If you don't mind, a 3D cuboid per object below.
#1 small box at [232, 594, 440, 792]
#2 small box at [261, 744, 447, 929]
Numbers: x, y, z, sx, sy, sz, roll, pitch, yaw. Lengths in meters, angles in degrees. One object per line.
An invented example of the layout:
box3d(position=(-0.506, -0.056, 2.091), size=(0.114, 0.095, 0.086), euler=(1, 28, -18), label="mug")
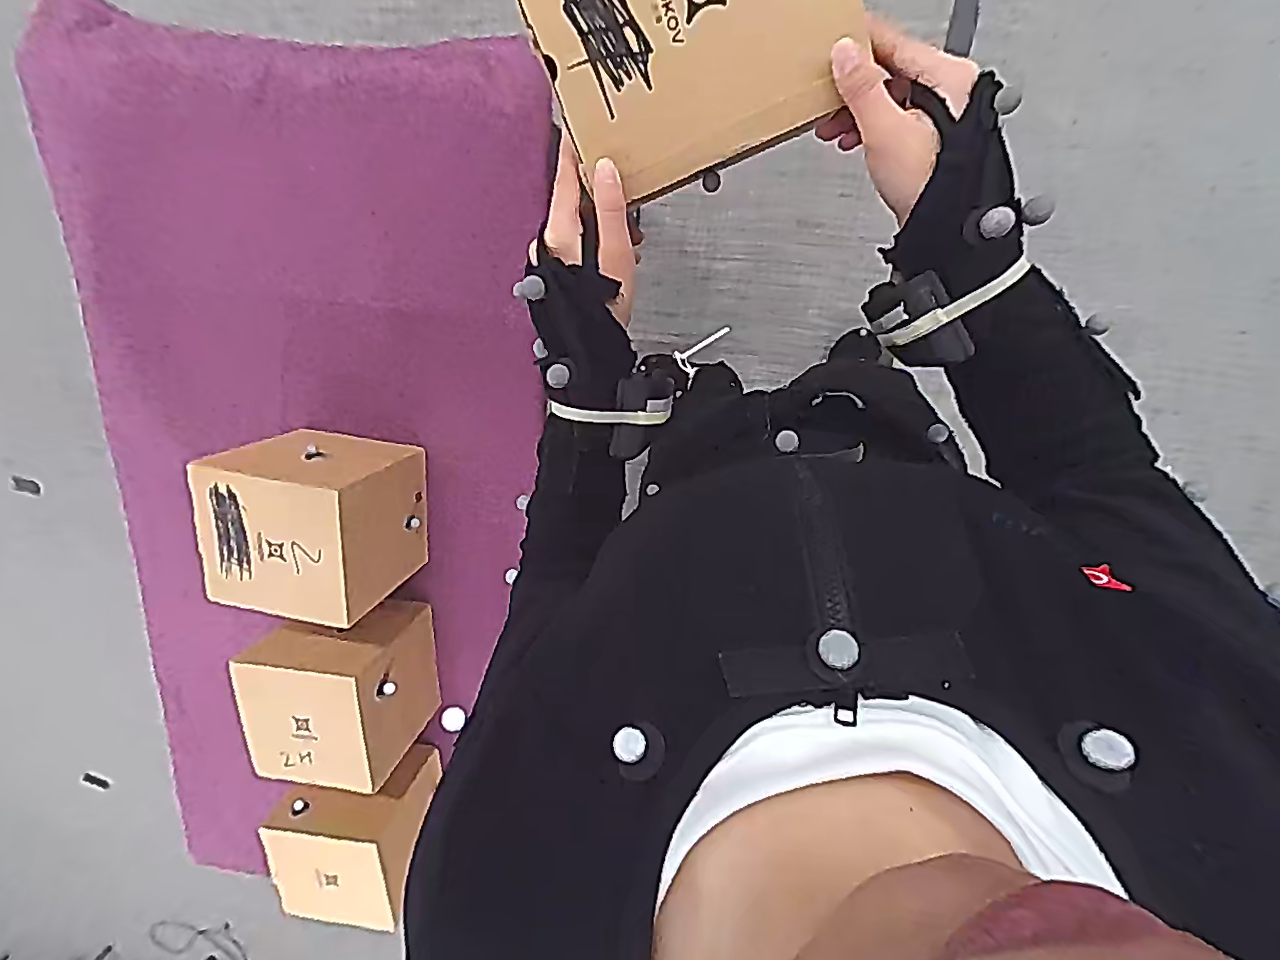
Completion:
box3d(position=(-0.389, 0.271, 0.723), size=(0.168, 0.176, 0.179), euler=(4, 108, 9), label="small box")
box3d(position=(-0.406, 0.514, 0.806), size=(0.179, 0.176, 0.168), euler=(1, 108, 9), label="small box")
